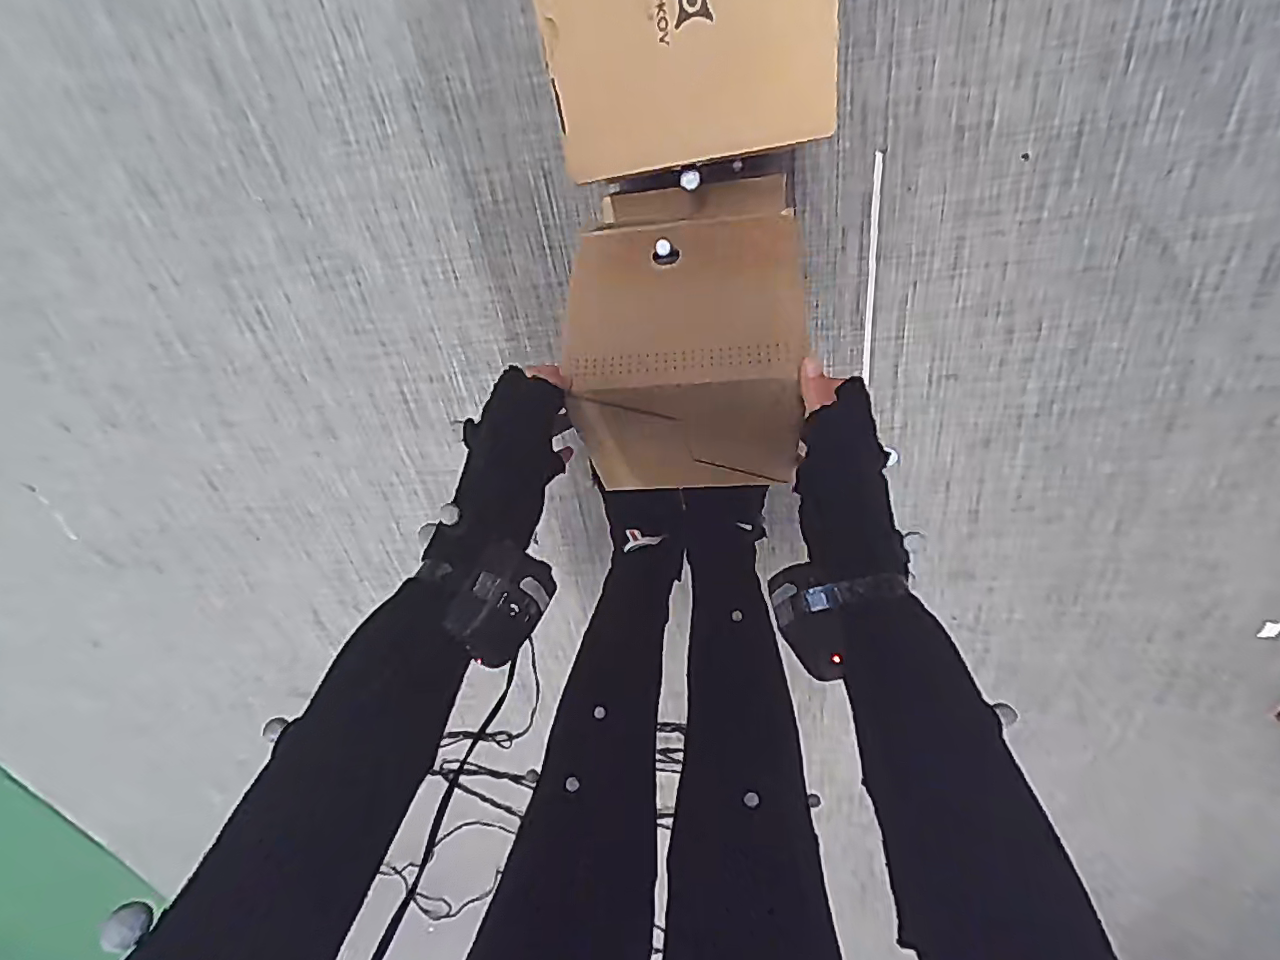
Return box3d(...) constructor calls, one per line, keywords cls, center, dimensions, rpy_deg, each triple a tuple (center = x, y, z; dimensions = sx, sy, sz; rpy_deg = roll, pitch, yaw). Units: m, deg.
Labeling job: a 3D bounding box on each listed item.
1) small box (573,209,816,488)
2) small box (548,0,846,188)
box3d(cls="small box", center=(0.048, -0.101, 0.474), dimensions=(0.179, 0.176, 0.168), rpy_deg=(-2, 154, 10))
box3d(cls="small box", center=(0.040, -0.320, 0.390), dimensions=(0.179, 0.176, 0.168), rpy_deg=(-5, 120, 10))
